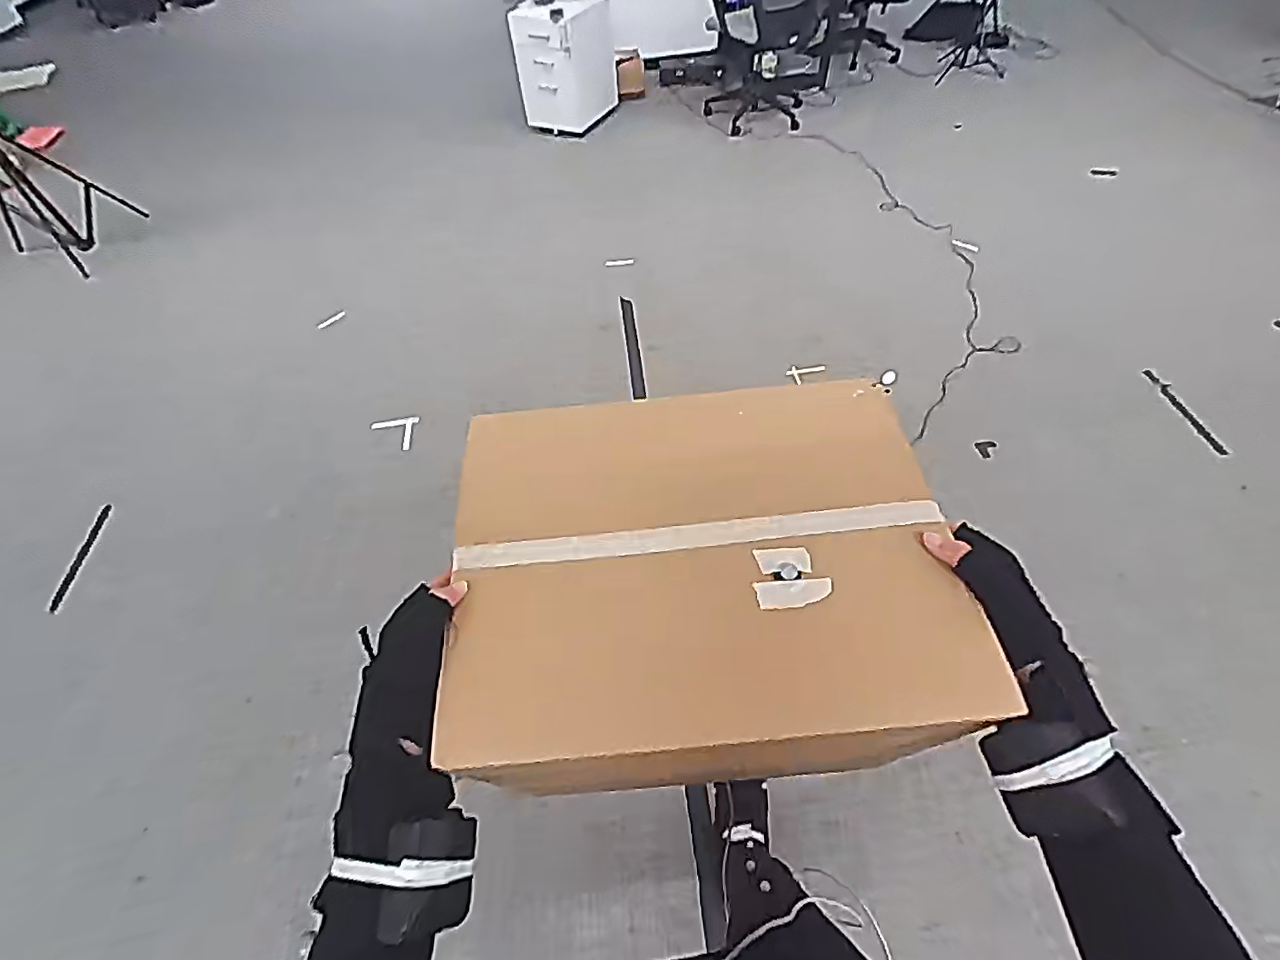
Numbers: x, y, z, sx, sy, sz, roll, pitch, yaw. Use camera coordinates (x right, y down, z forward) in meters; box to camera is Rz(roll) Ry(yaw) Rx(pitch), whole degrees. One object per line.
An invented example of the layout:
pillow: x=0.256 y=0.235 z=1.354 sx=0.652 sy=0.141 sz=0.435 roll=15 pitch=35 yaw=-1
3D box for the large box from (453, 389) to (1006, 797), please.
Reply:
large box: x=0.058 y=0.137 z=0.584 sx=0.408 sy=0.320 sz=0.320 roll=-6 pitch=57 yaw=0
